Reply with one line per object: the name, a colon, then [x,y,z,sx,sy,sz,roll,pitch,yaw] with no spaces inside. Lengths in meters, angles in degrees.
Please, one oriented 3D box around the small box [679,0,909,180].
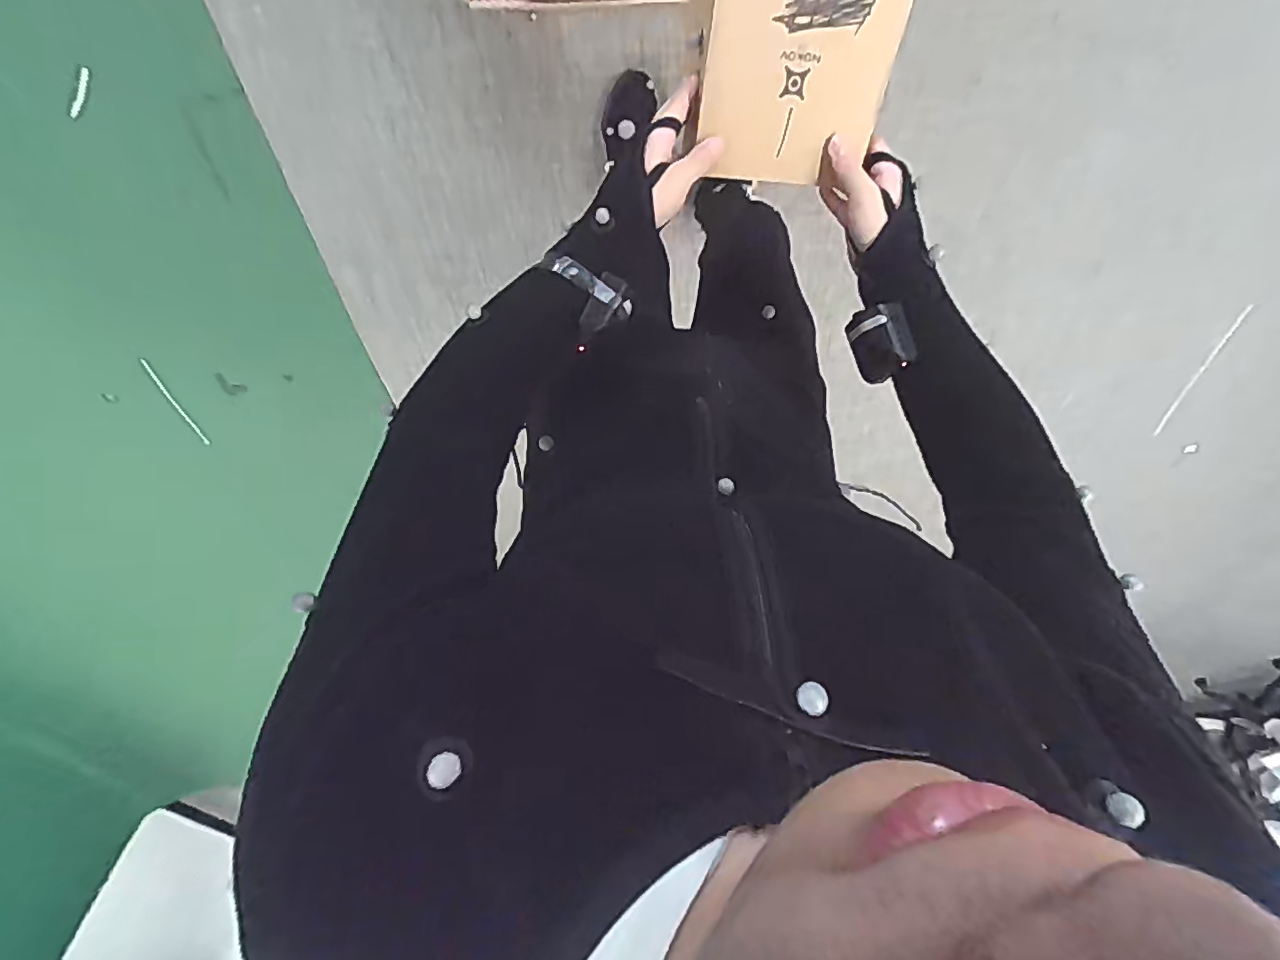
small box: [0.136,-0.421,0.540,0.168,0.176,0.179,1,130,-5]
